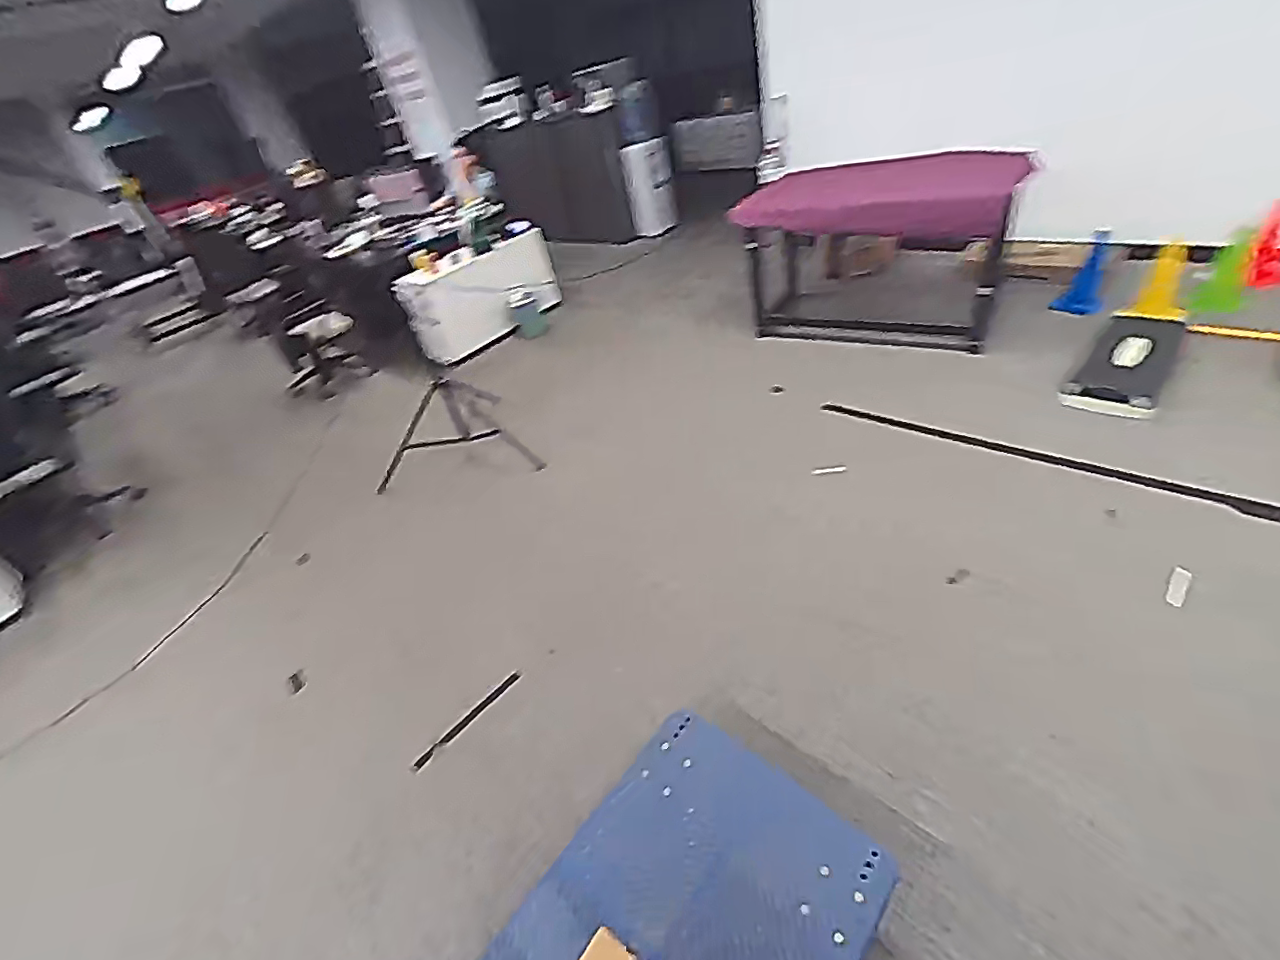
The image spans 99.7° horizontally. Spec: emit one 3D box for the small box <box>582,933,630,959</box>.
[{"bbox_3d":[-0.028,0.820,0.779,0.179,0.176,0.168,19,50,36],"label":"small box"}]
